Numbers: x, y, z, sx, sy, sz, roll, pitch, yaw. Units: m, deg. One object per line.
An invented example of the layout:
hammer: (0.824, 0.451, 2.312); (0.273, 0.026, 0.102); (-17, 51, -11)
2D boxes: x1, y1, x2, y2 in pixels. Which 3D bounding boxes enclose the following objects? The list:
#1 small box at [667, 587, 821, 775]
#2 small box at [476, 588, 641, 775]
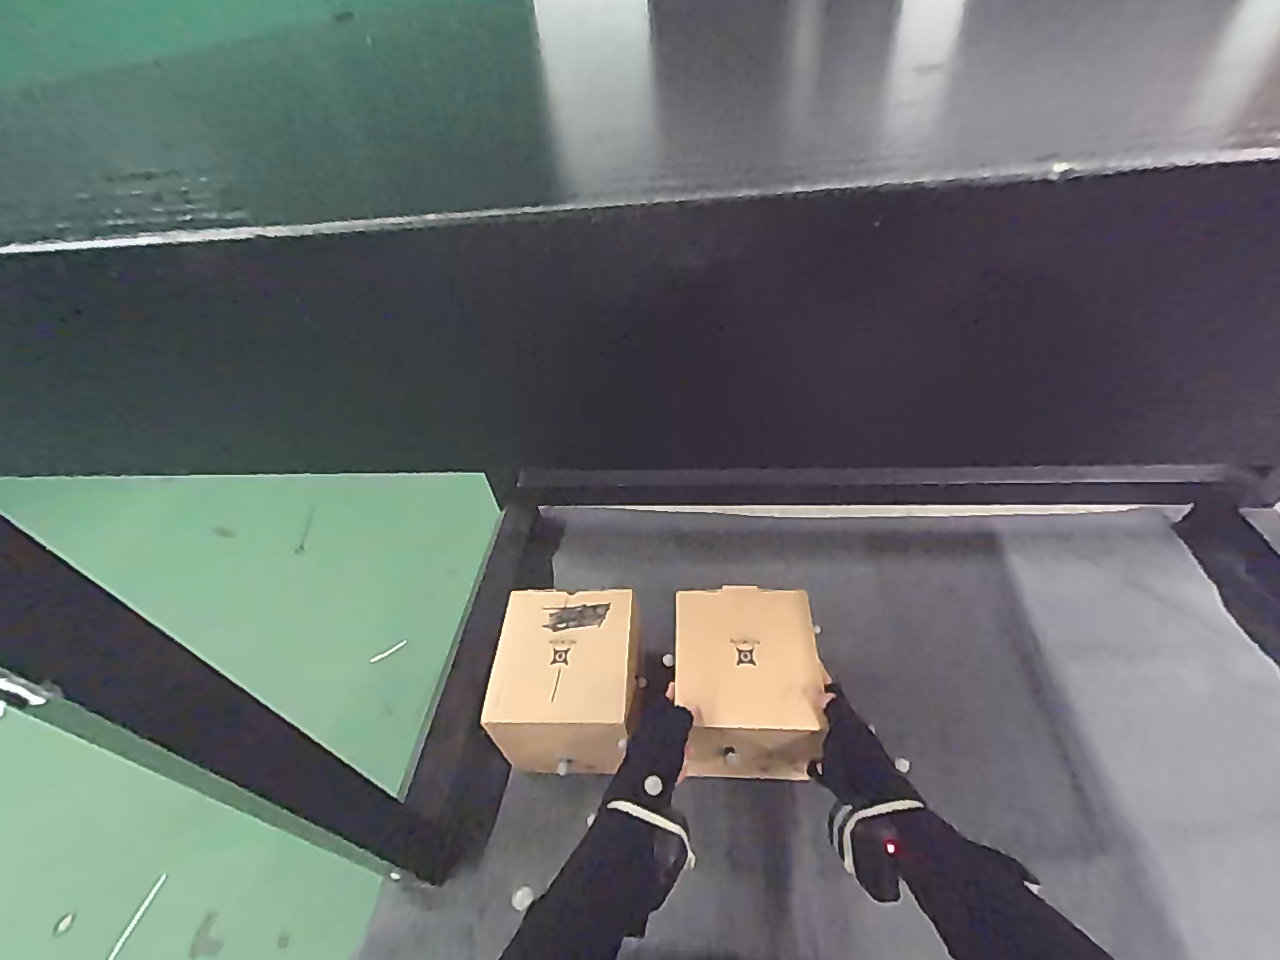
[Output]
small box: (0.126, 0.256, 0.685); (0.168, 0.176, 0.179); (-2, 44, 7)
small box: (-0.091, 0.261, 0.709); (0.168, 0.176, 0.179); (-2, 44, 7)
